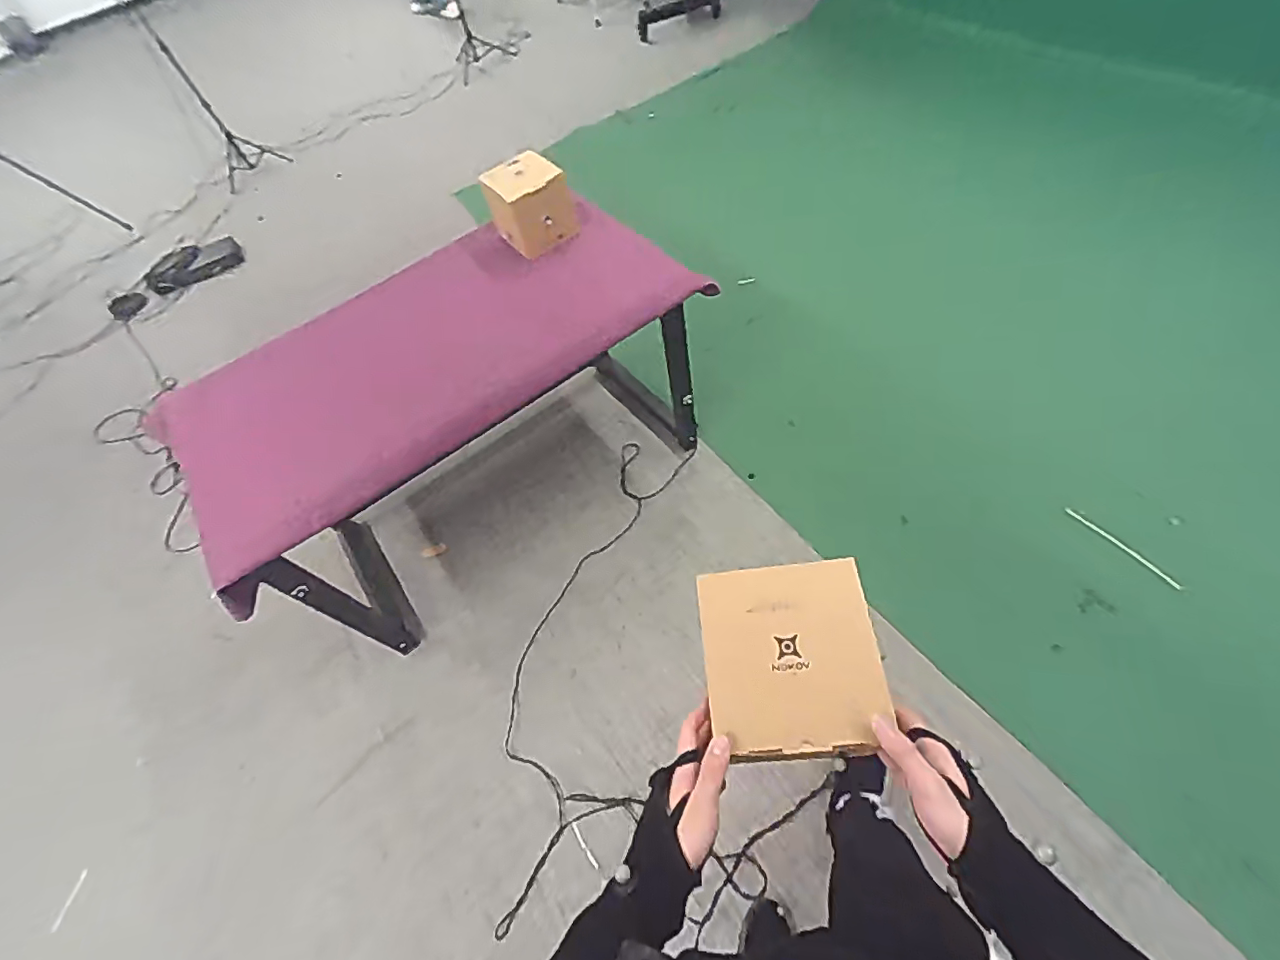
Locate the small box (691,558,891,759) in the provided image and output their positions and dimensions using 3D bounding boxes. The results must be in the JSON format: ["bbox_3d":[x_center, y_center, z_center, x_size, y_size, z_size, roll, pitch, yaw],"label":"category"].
[{"bbox_3d":[0.152,0.203,0.591,0.168,0.176,0.179,-8,59,7],"label":"small box"}]

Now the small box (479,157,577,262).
[{"bbox_3d":[-0.290,-0.710,1.436,0.168,0.176,0.179,-36,59,-12],"label":"small box"}]
